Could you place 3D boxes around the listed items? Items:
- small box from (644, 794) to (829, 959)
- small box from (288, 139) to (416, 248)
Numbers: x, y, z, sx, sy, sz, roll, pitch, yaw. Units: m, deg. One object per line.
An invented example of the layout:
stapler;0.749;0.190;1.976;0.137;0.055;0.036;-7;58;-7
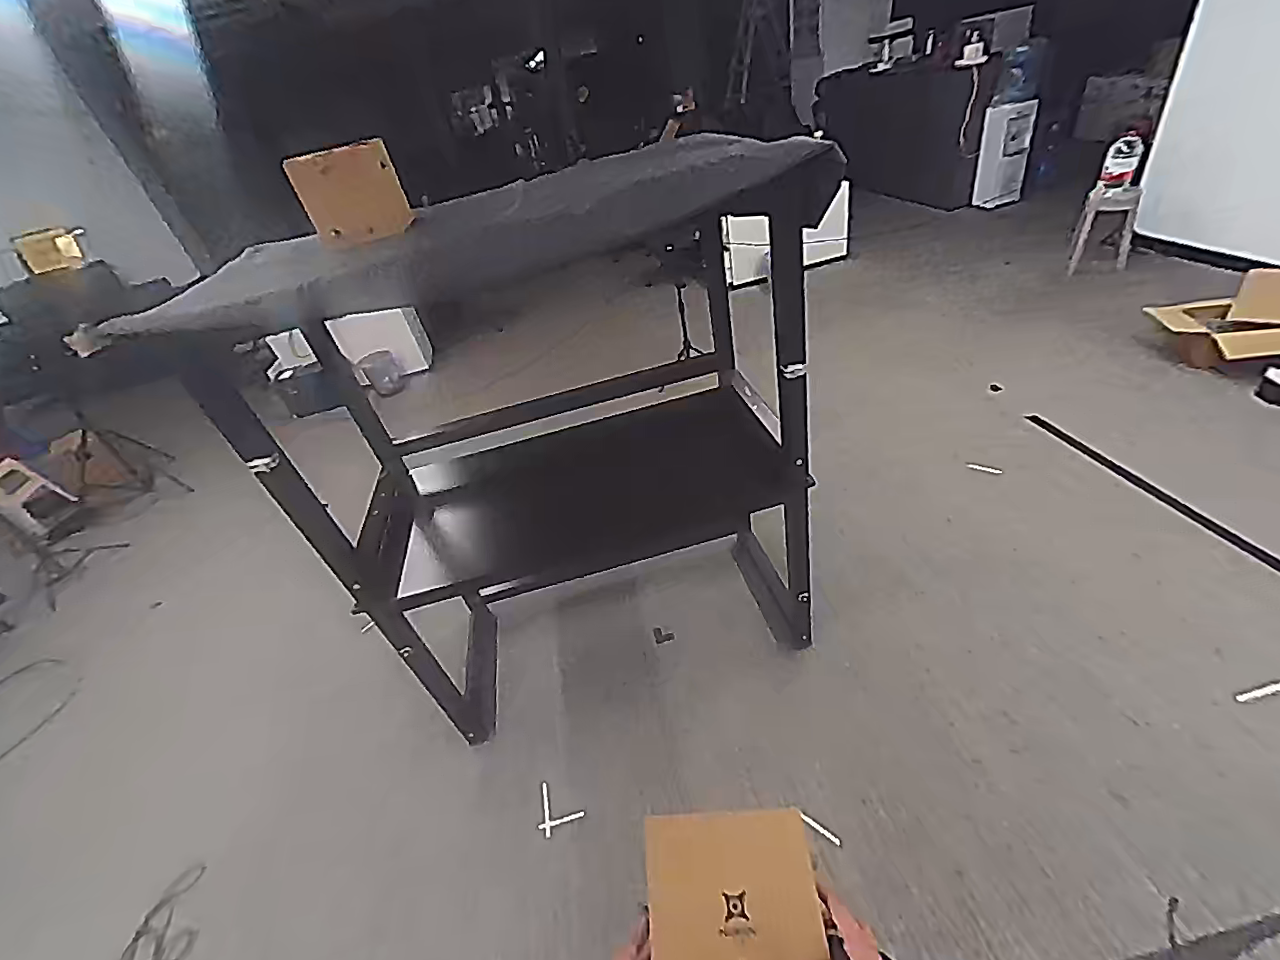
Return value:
small box;0.089;0.453;0.578;0.168;0.176;0.179;-3;52;0
small box;-0.605;-0.615;1.165;0.168;0.176;0.179;-15;36;-2
